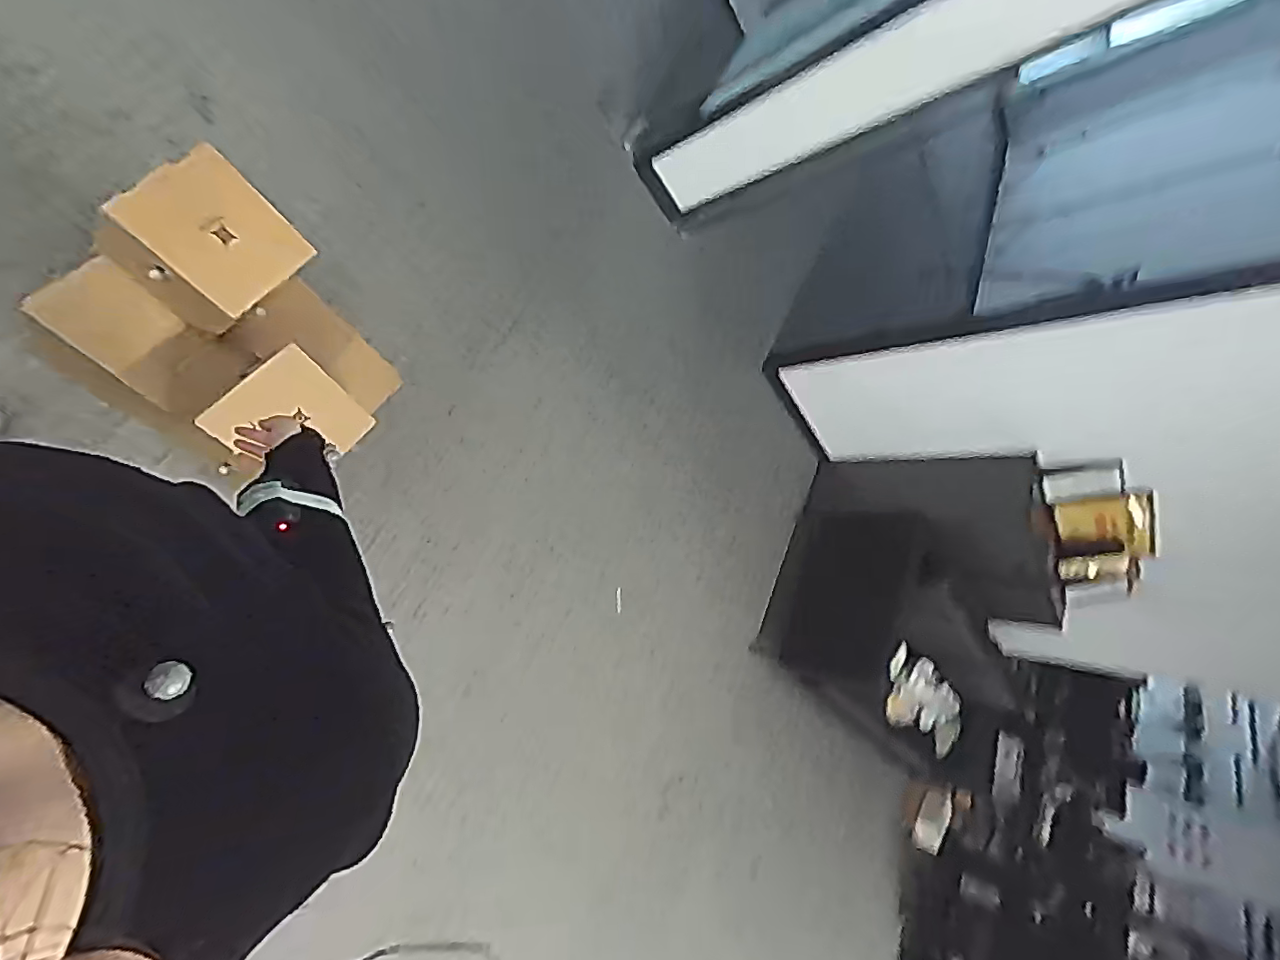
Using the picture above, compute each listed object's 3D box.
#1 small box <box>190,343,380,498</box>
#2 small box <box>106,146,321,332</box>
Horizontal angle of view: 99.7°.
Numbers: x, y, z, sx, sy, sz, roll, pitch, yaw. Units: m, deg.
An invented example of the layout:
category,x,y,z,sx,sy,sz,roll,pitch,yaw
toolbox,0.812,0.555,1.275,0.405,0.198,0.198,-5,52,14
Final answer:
category,x,y,z,sx,sy,sz,roll,pitch,yaw
small box,-0.564,-0.089,0.858,0.168,0.176,0.179,53,54,-32
small box,-0.624,-0.338,0.797,0.179,0.176,0.168,50,56,-33
